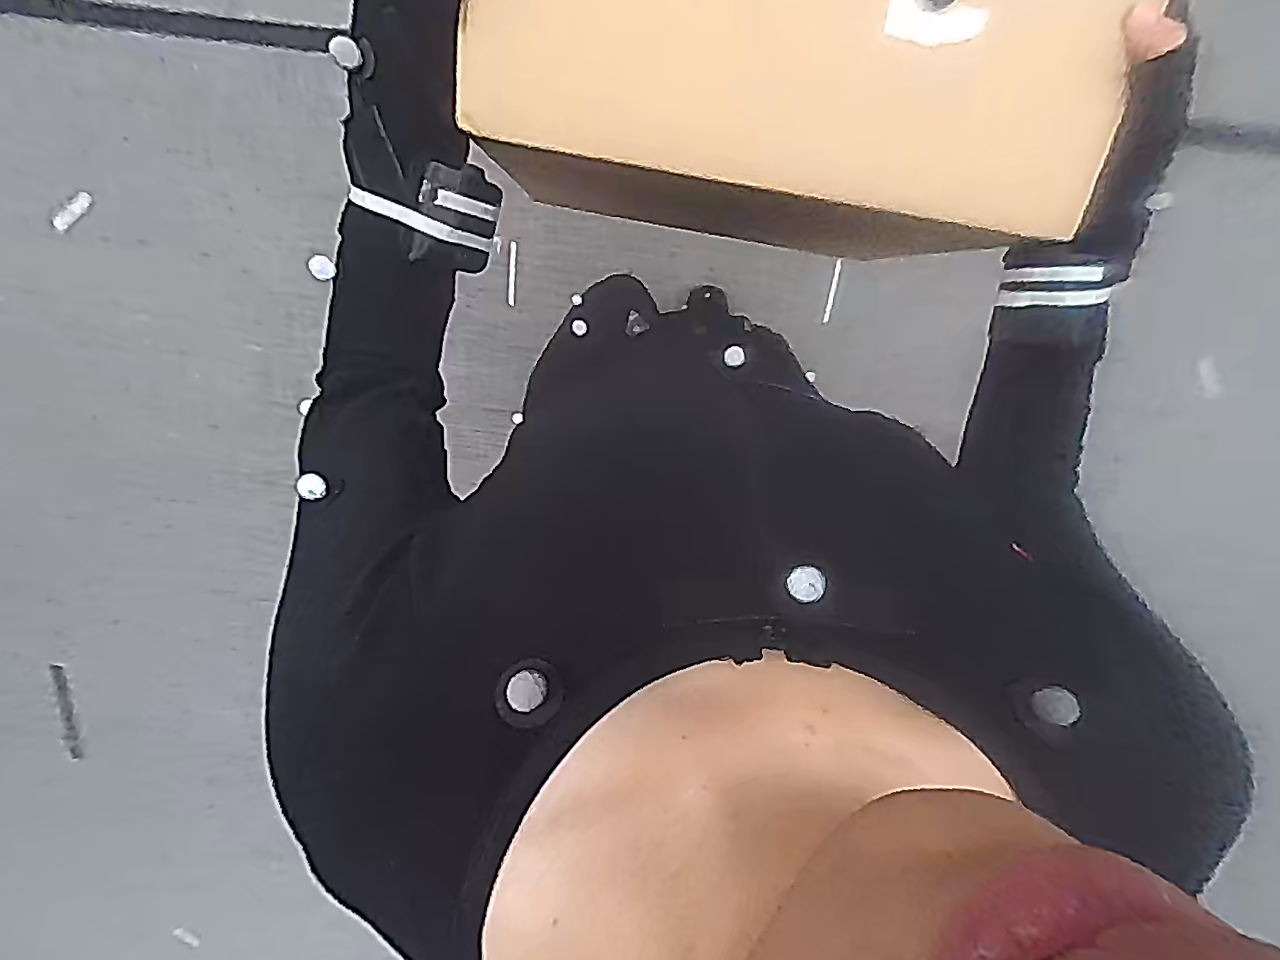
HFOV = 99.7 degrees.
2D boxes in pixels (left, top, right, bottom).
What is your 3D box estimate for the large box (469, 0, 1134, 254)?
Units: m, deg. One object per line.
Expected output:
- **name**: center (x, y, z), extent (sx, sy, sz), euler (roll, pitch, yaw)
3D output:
- **large box**: center (0.100, -0.388, 0.445), extent (0.408, 0.320, 0.320), euler (7, 109, -6)
